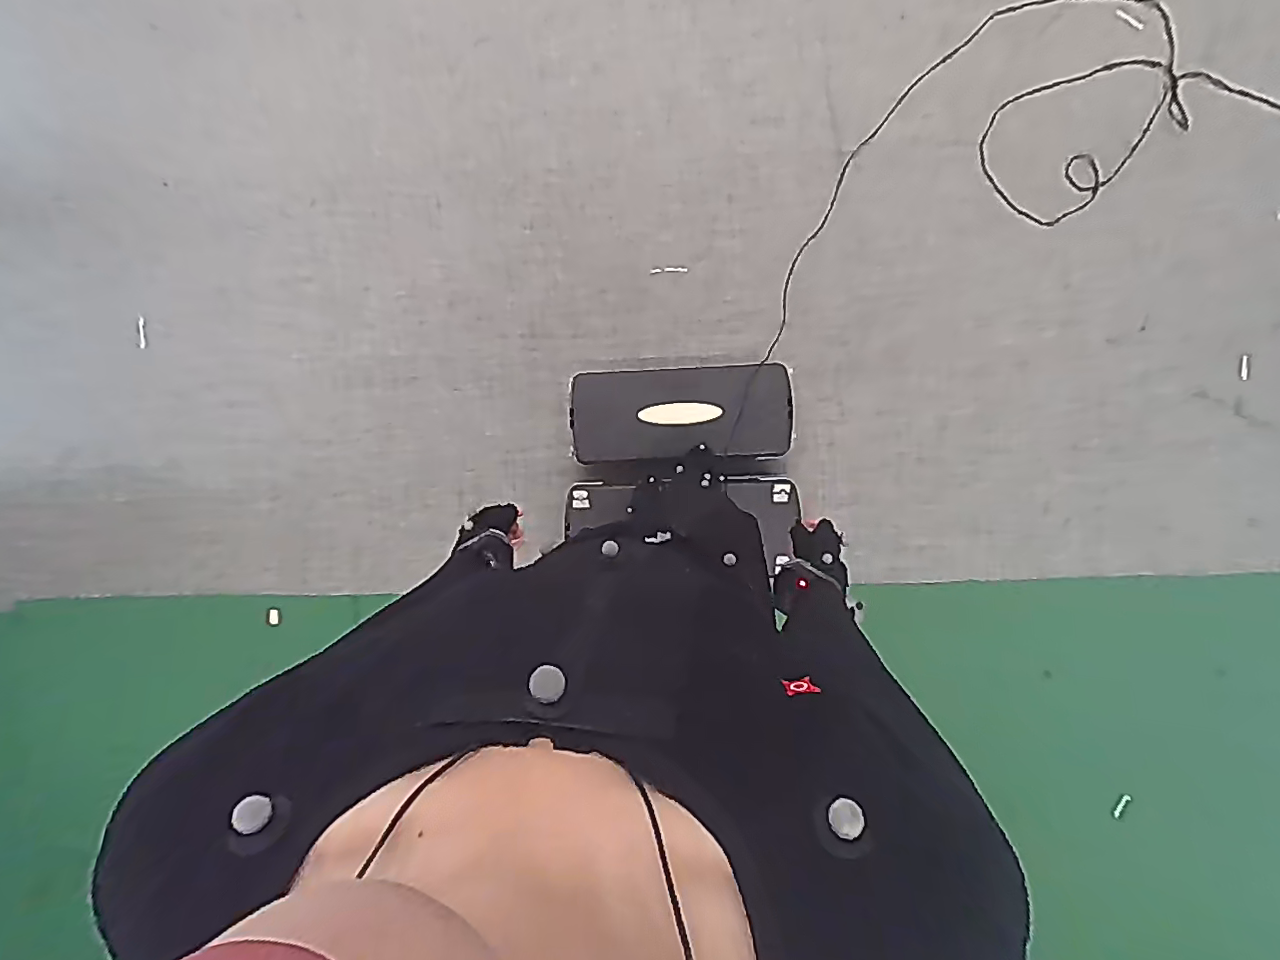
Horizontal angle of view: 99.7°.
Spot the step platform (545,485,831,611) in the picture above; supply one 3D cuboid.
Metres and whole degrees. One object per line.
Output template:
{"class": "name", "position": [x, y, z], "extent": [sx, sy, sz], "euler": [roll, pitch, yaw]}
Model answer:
{"class": "step platform", "position": [0.113, 0.166, 1.383], "extent": [0.684, 0.204, 0.286], "euler": [-2, 90, 2]}
